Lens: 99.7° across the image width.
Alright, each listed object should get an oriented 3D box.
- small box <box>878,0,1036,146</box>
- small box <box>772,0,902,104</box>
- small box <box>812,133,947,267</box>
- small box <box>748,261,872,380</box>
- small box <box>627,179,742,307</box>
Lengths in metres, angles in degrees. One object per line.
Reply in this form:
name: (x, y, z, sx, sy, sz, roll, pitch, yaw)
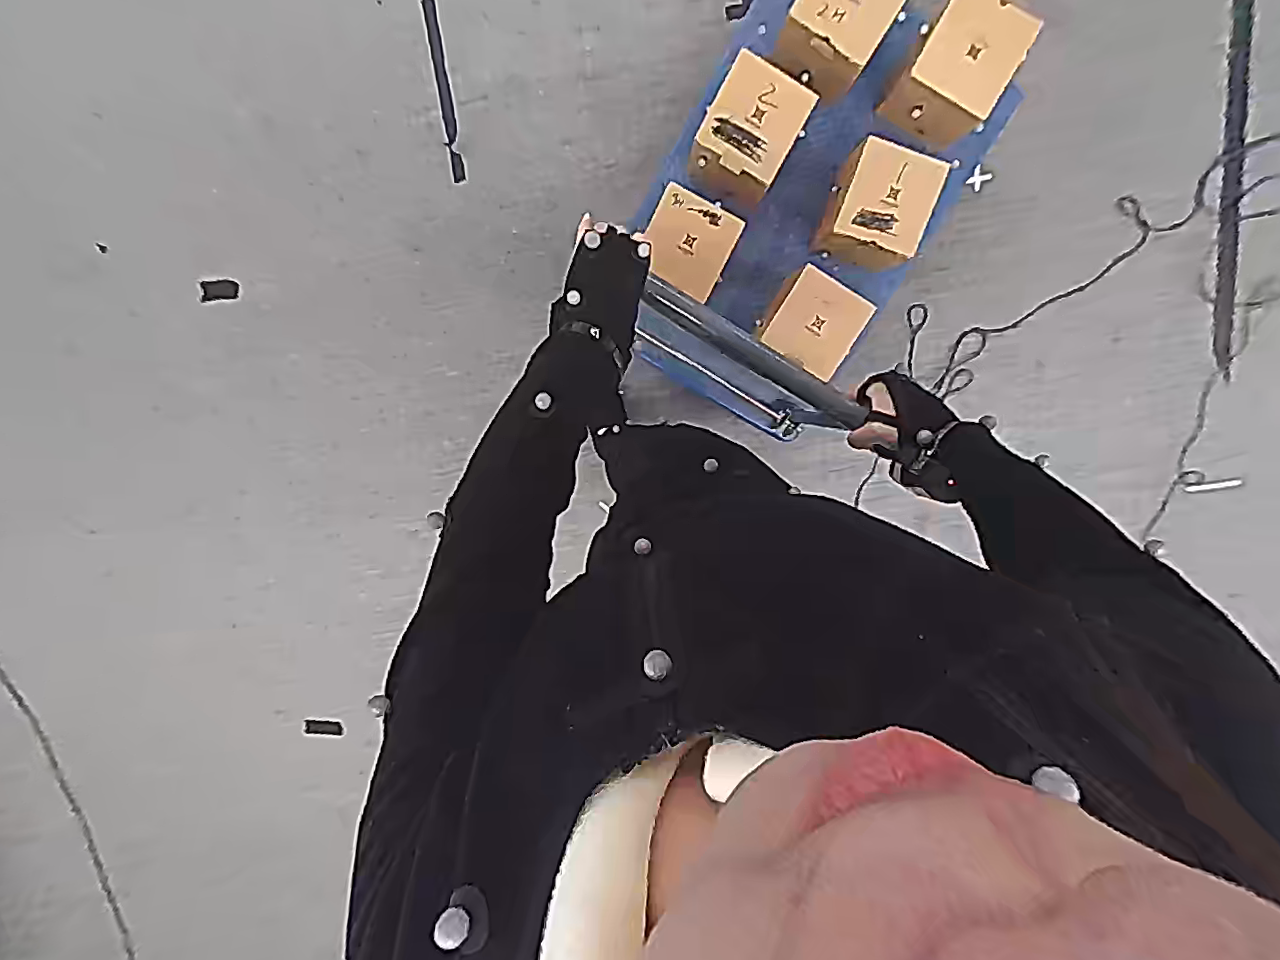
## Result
small box: (0.591, -0.789, 1.042, 0.168, 0.176, 0.179, 27, 101, -5)
small box: (0.373, -0.873, 1.024, 0.168, 0.176, 0.179, 32, 102, -6)
small box: (0.469, -0.551, 1.094, 0.168, 0.176, 0.179, 20, 102, -3)
small box: (0.347, -0.329, 1.146, 0.168, 0.176, 0.179, 31, 100, -6)
small box: (0.087, -0.474, 1.118, 0.168, 0.176, 0.179, 27, 102, -6)
